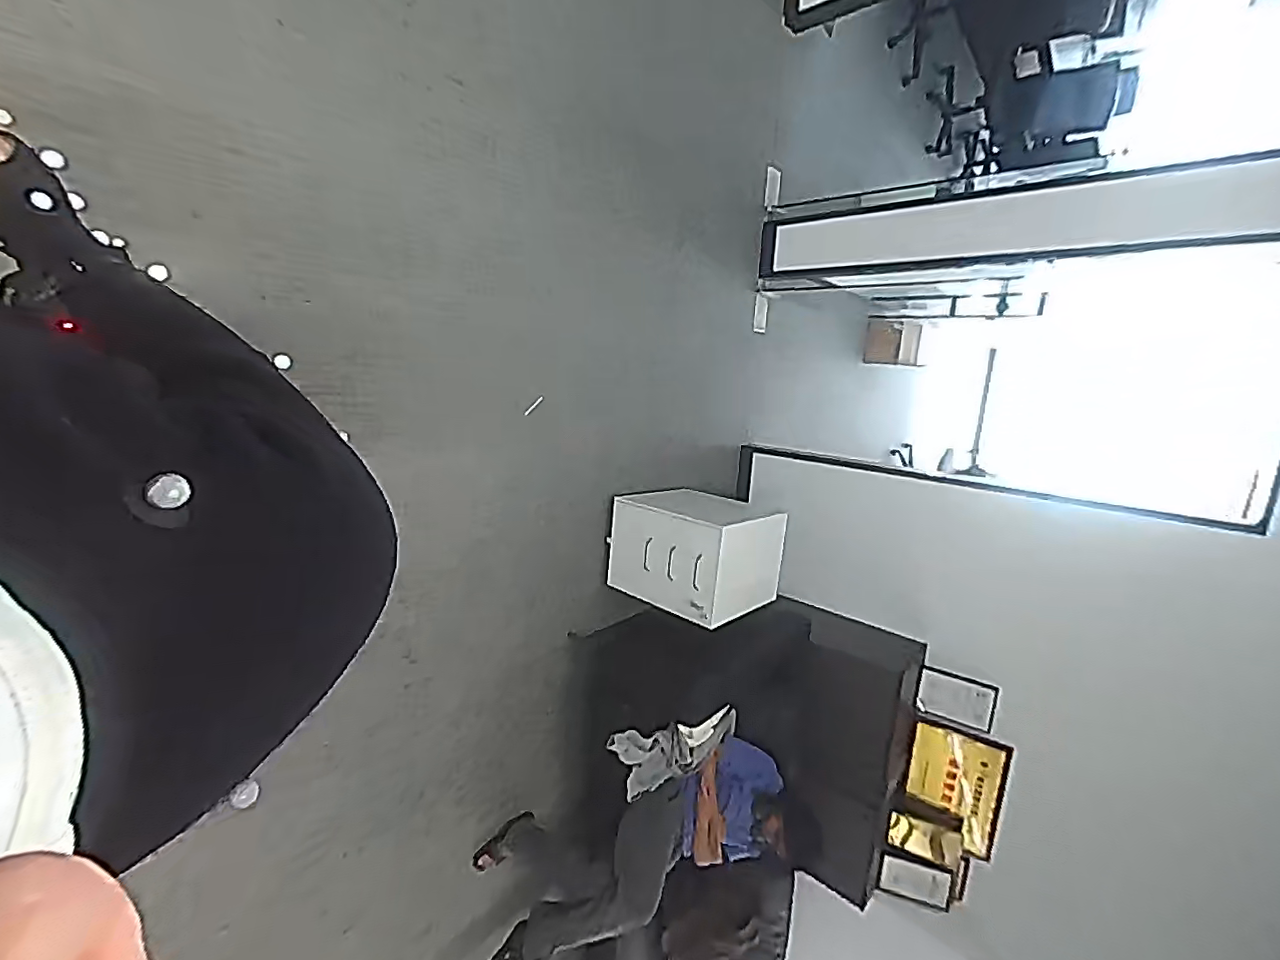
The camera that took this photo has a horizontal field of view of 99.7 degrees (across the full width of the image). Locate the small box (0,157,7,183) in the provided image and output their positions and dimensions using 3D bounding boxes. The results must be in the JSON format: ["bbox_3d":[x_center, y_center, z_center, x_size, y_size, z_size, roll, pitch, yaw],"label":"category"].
[{"bbox_3d":[-0.683,-0.353,0.445,0.179,0.176,0.168,-17,111,-43],"label":"small box"}]
